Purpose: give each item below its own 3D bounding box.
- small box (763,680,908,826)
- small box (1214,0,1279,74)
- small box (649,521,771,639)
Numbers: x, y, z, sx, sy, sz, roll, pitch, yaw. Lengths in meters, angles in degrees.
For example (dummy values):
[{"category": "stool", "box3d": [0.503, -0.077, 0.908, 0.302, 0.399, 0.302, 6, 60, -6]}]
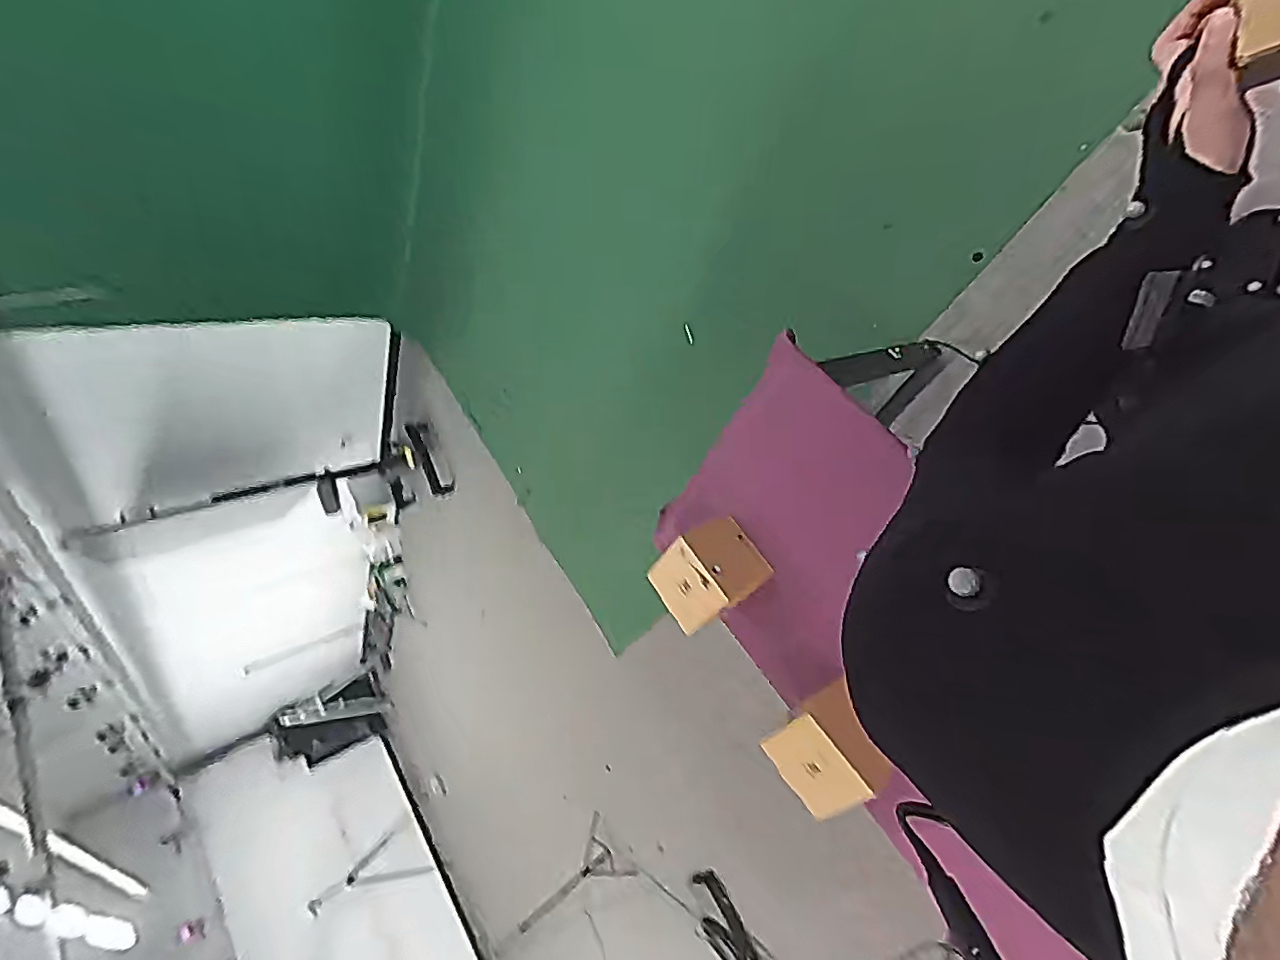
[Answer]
[{"category": "small box", "box3d": [0.384, 0.530, 1.060, 0.168, 0.176, 0.179, 51, 135, 23]}, {"category": "small box", "box3d": [0.459, -0.373, 0.314, 0.168, 0.176, 0.179, 1, 110, 47]}, {"category": "small box", "box3d": [0.156, 0.219, 1.204, 0.168, 0.176, 0.179, 53, 137, 20]}]
